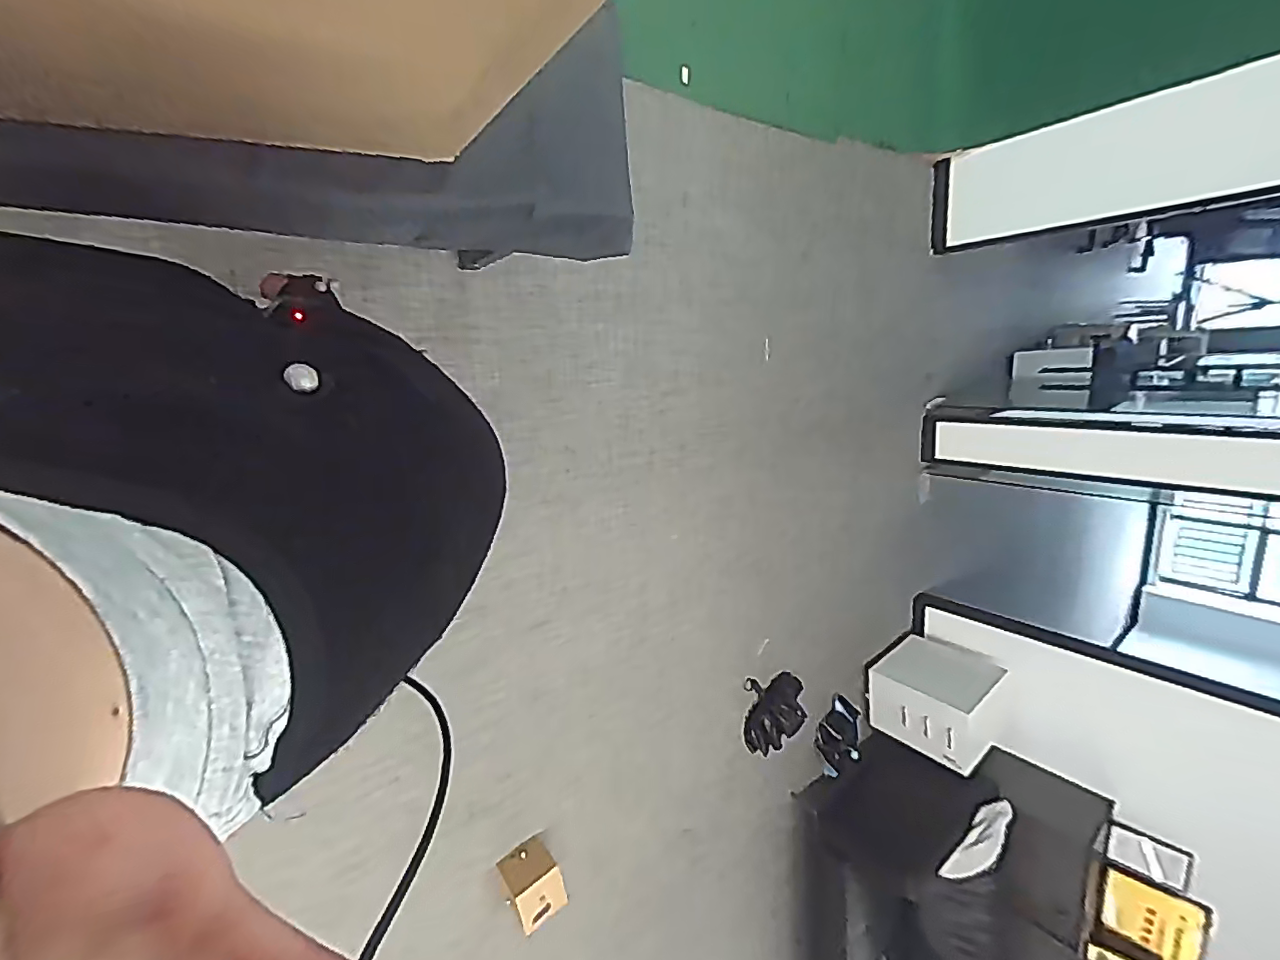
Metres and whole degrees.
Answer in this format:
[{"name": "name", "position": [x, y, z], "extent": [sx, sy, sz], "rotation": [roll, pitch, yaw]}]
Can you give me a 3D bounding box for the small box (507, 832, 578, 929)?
[{"name": "small box", "position": [-0.342, 1.392, 1.891], "extent": [0.168, 0.176, 0.179], "rotation": [-23, 110, -34]}]
